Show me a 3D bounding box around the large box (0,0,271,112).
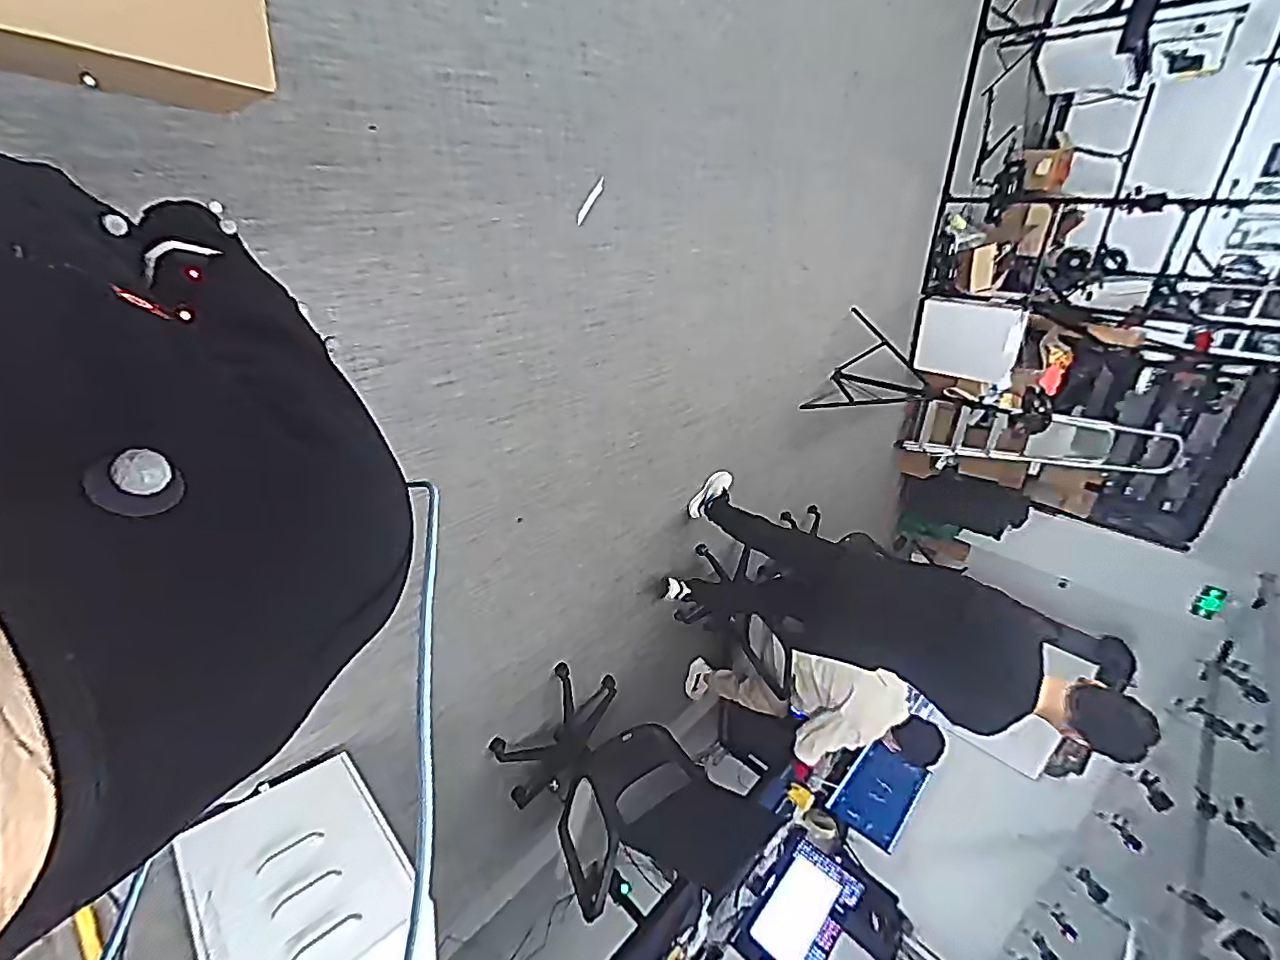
[{"bbox_3d":[-0.797,-0.733,0.724,0.408,0.320,0.320,-18,122,-44],"label":"large box"}]
